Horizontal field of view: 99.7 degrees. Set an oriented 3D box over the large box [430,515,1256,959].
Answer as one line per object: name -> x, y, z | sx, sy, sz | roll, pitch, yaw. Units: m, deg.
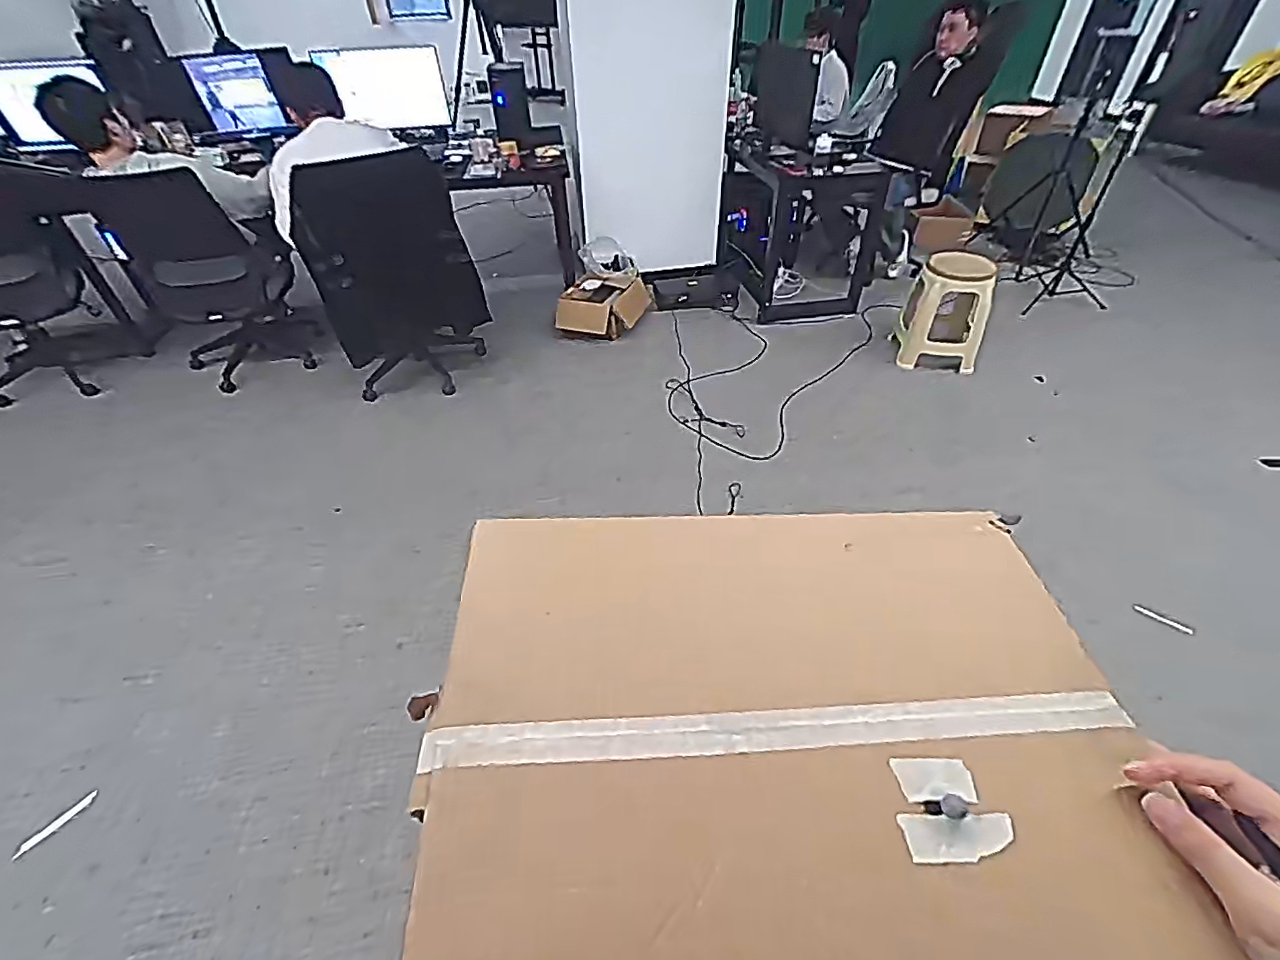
large box -> 0.081, 0.244, 0.434 | 0.408, 0.320, 0.320 | 0, 49, -6
